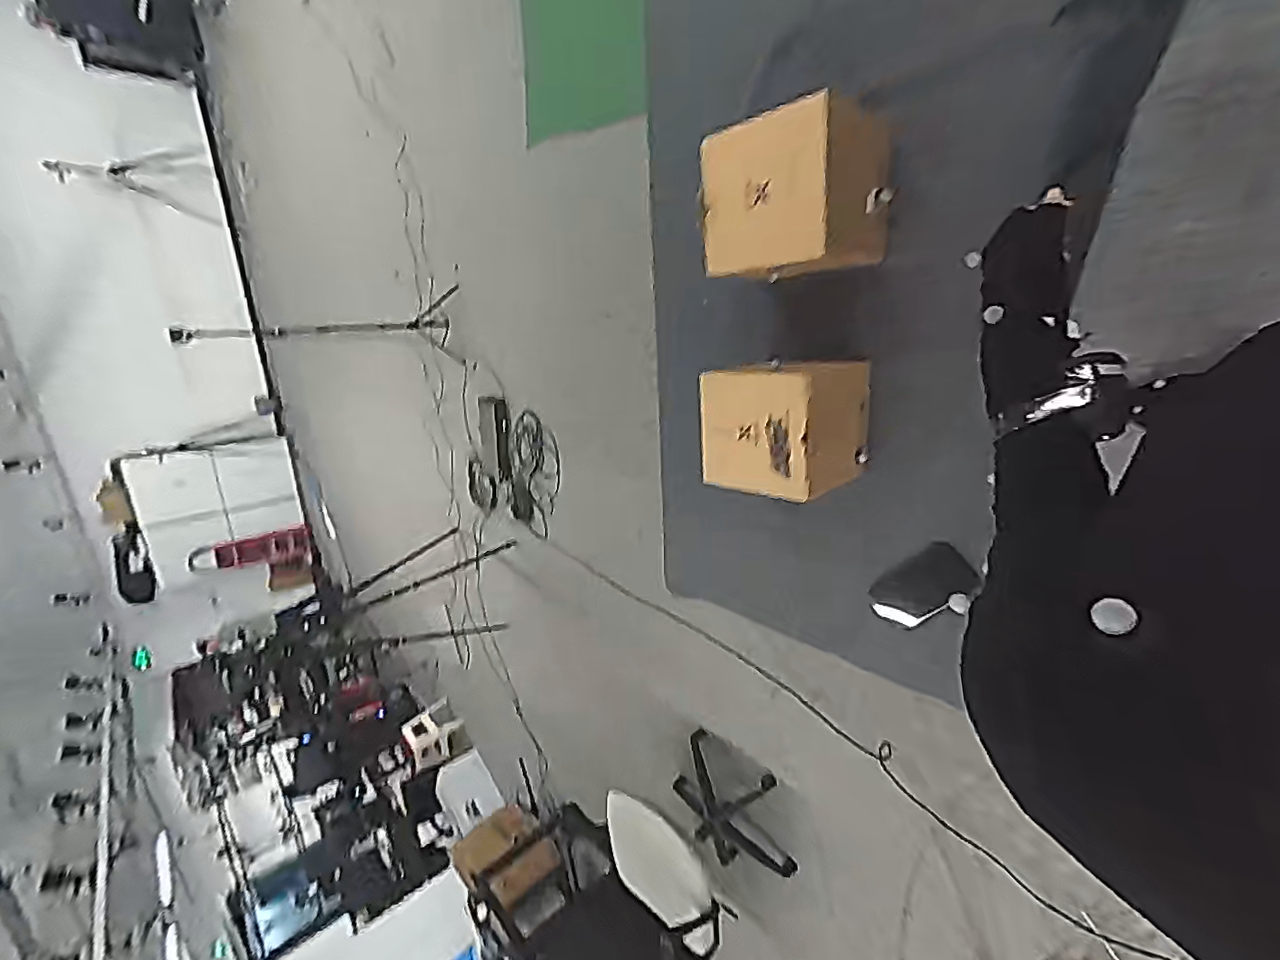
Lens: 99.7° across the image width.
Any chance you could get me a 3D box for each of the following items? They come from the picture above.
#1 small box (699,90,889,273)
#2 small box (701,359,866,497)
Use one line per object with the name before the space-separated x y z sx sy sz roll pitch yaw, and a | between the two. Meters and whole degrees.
small box | 0.201 -0.368 0.707 0.179 0.176 0.168 10 112 45
small box | 0.213 -0.087 0.794 0.179 0.176 0.168 12 113 47
